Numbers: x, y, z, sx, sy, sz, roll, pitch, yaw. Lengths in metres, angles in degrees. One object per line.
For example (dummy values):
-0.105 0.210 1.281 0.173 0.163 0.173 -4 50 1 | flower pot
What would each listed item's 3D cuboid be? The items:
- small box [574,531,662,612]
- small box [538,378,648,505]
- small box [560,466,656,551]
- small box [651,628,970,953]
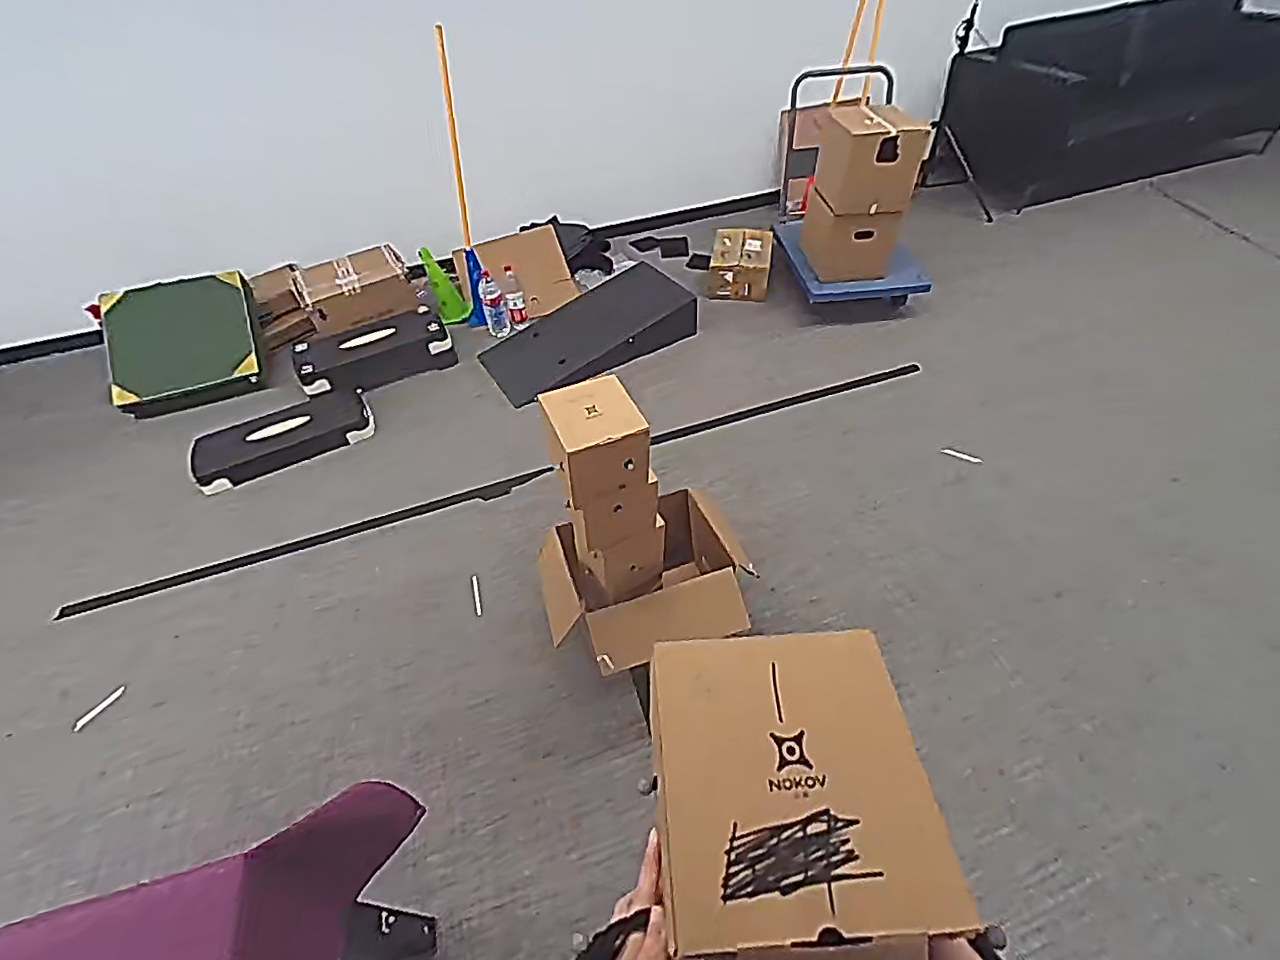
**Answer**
-0.056 0.226 1.475 0.179 0.176 0.168 -31 55 -26 | small box
-0.092 -0.070 1.080 0.168 0.176 0.179 -18 51 -17 | small box
-0.076 0.032 1.208 0.179 0.176 0.168 -20 53 -17 | small box
0.096 0.230 0.404 0.168 0.176 0.179 -3 49 -2 | small box
